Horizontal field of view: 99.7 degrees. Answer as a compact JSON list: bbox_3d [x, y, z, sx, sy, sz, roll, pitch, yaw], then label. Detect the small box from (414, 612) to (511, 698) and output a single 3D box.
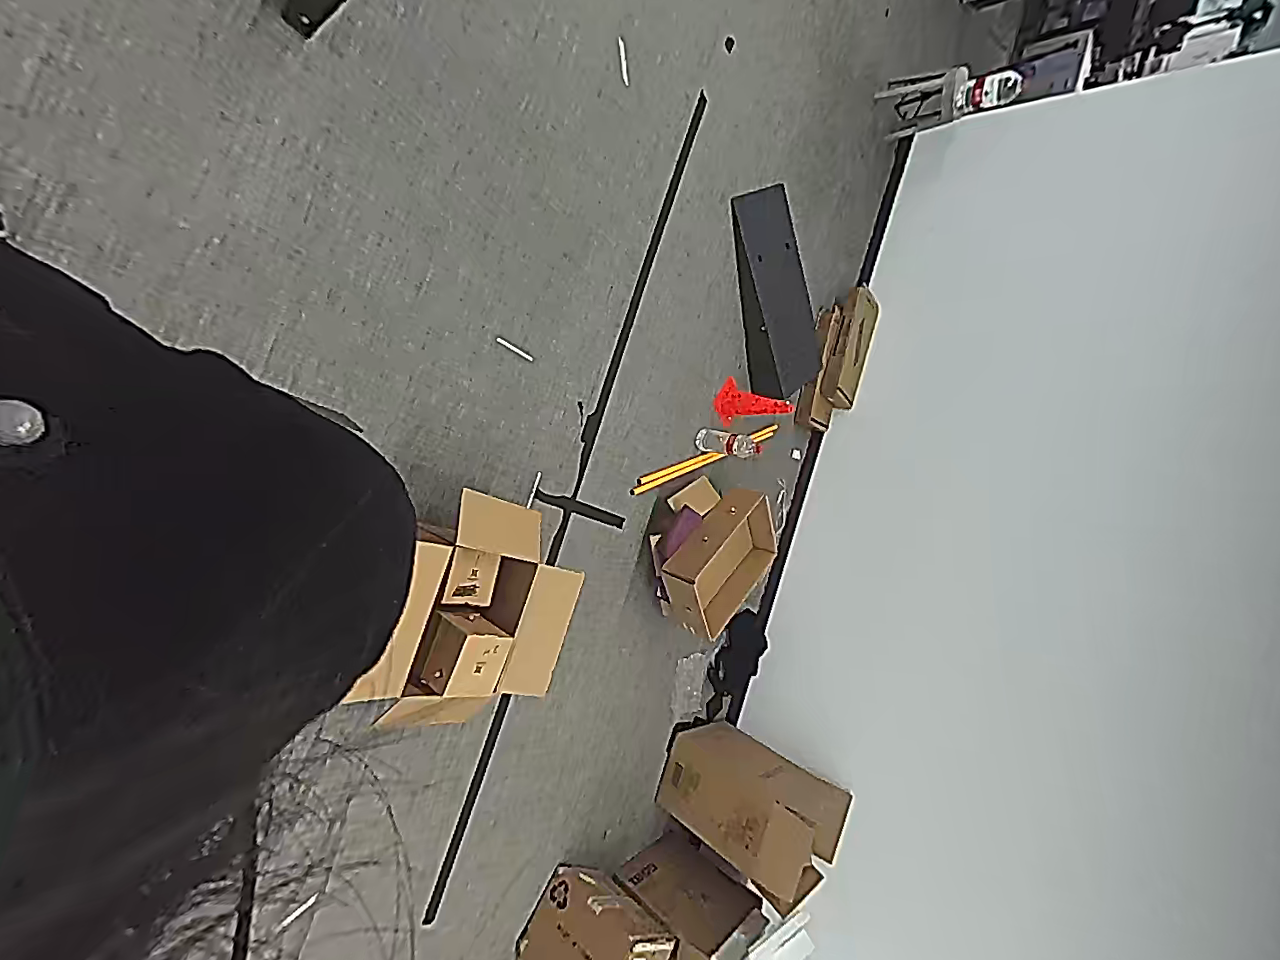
[{"bbox_3d":[-0.501,0.488,1.512,0.168,0.176,0.179,27,80,-51],"label":"small box"}]
